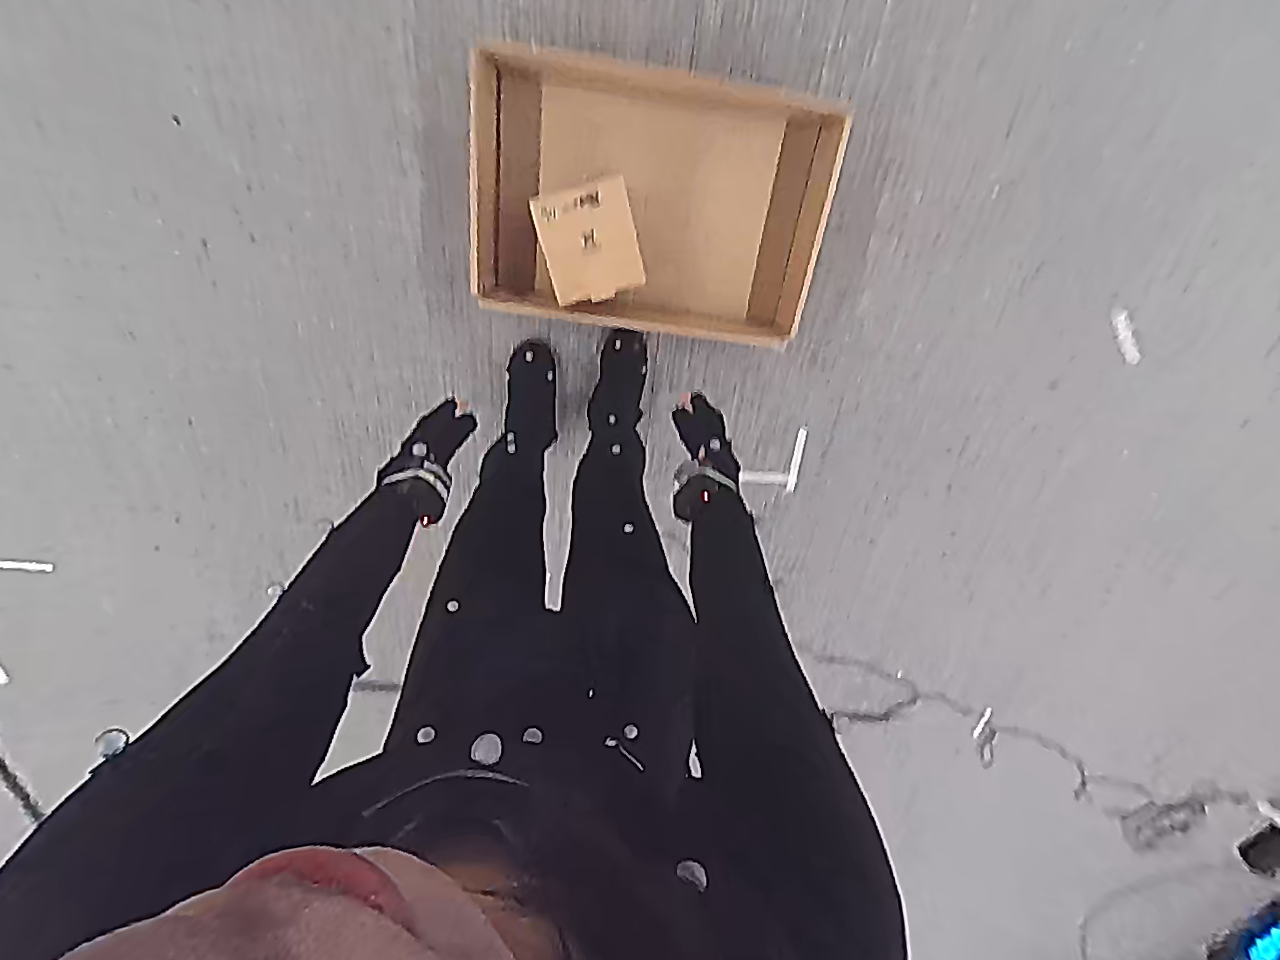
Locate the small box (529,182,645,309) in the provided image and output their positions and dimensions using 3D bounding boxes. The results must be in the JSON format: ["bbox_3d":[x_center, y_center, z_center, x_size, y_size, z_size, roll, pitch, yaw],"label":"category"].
[{"bbox_3d":[-0.091,-0.433,0.998,0.168,0.176,0.179,-14,116,2],"label":"small box"}]
